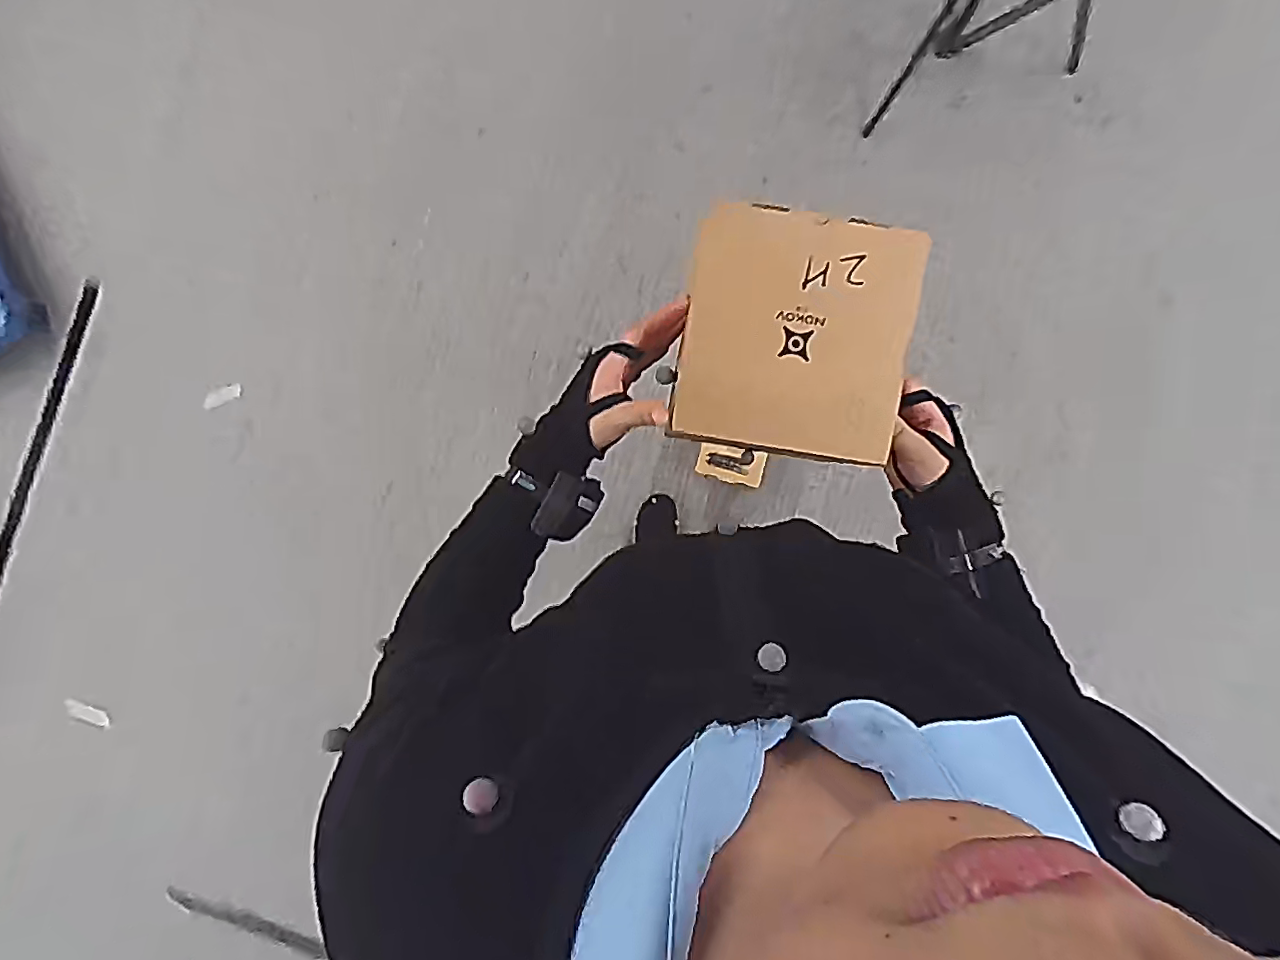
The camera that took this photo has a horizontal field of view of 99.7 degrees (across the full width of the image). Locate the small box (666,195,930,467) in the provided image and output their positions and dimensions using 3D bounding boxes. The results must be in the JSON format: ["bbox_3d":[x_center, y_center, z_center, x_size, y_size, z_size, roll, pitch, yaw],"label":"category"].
[{"bbox_3d":[0.116,-0.113,0.475,0.168,0.176,0.179,9,94,0],"label":"small box"}]
